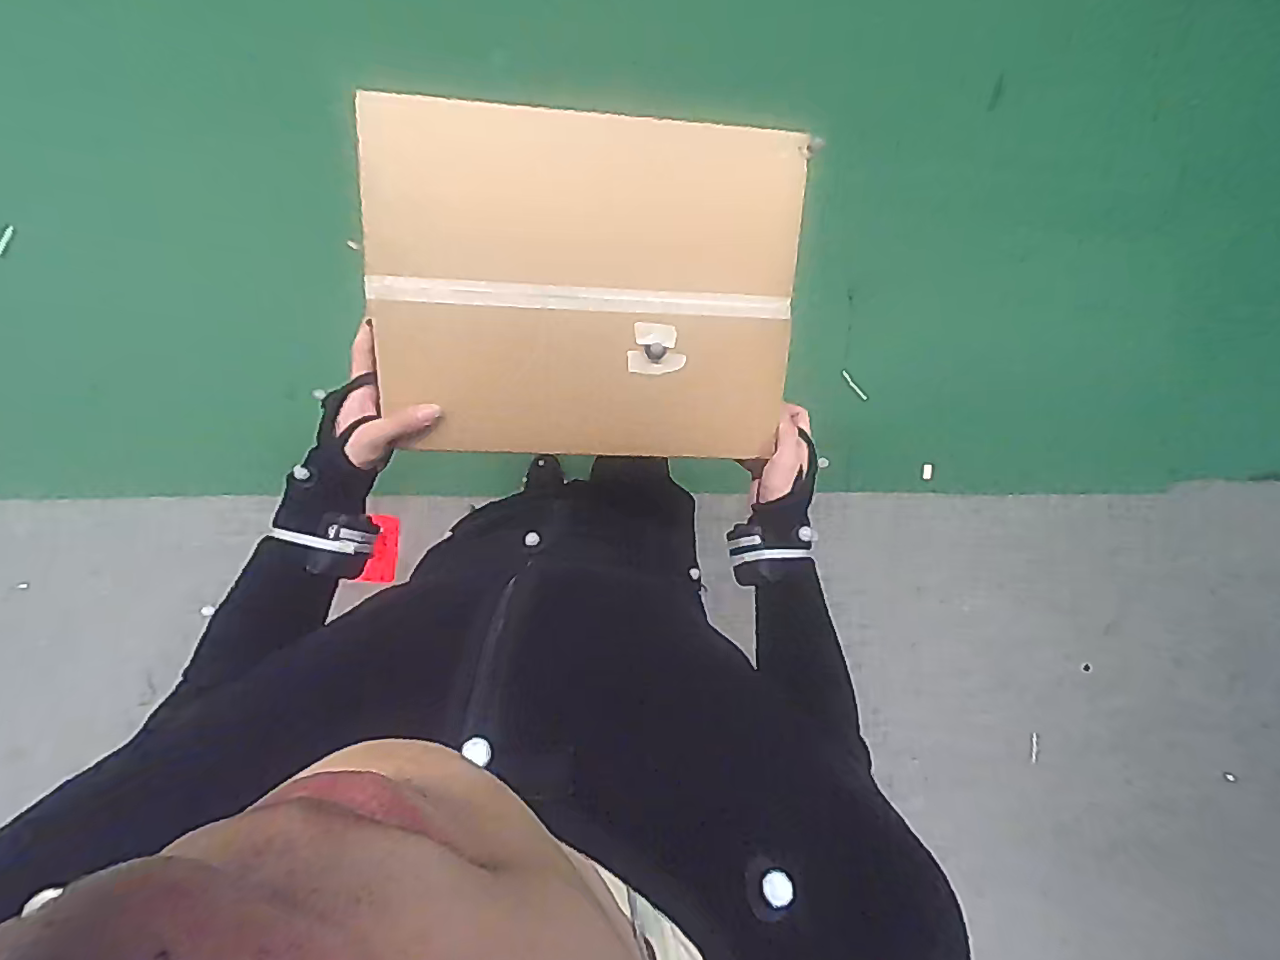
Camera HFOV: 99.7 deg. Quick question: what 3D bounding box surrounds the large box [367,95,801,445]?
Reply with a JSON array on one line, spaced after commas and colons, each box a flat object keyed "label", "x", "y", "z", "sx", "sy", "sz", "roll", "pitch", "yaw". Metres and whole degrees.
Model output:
[{"label": "large box", "x": -0.065, "y": -0.225, "z": 0.674, "sx": 0.408, "sy": 0.320, "sz": 0.320, "roll": 1, "pitch": 106, "yaw": -7}]

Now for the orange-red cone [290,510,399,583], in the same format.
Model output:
[{"label": "orange-red cone", "x": -0.788, "y": 0.196, "z": 1.384, "sx": 0.199, "sy": 0.360, "sz": 0.198, "roll": 8, "pitch": 91, "yaw": -6}]

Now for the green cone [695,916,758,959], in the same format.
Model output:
[{"label": "green cone", "x": 0.302, "y": 1.516, "z": 1.578, "sx": 0.200, "sy": 0.368, "sz": 0.202, "roll": 6, "pitch": 90, "yaw": -8}]
